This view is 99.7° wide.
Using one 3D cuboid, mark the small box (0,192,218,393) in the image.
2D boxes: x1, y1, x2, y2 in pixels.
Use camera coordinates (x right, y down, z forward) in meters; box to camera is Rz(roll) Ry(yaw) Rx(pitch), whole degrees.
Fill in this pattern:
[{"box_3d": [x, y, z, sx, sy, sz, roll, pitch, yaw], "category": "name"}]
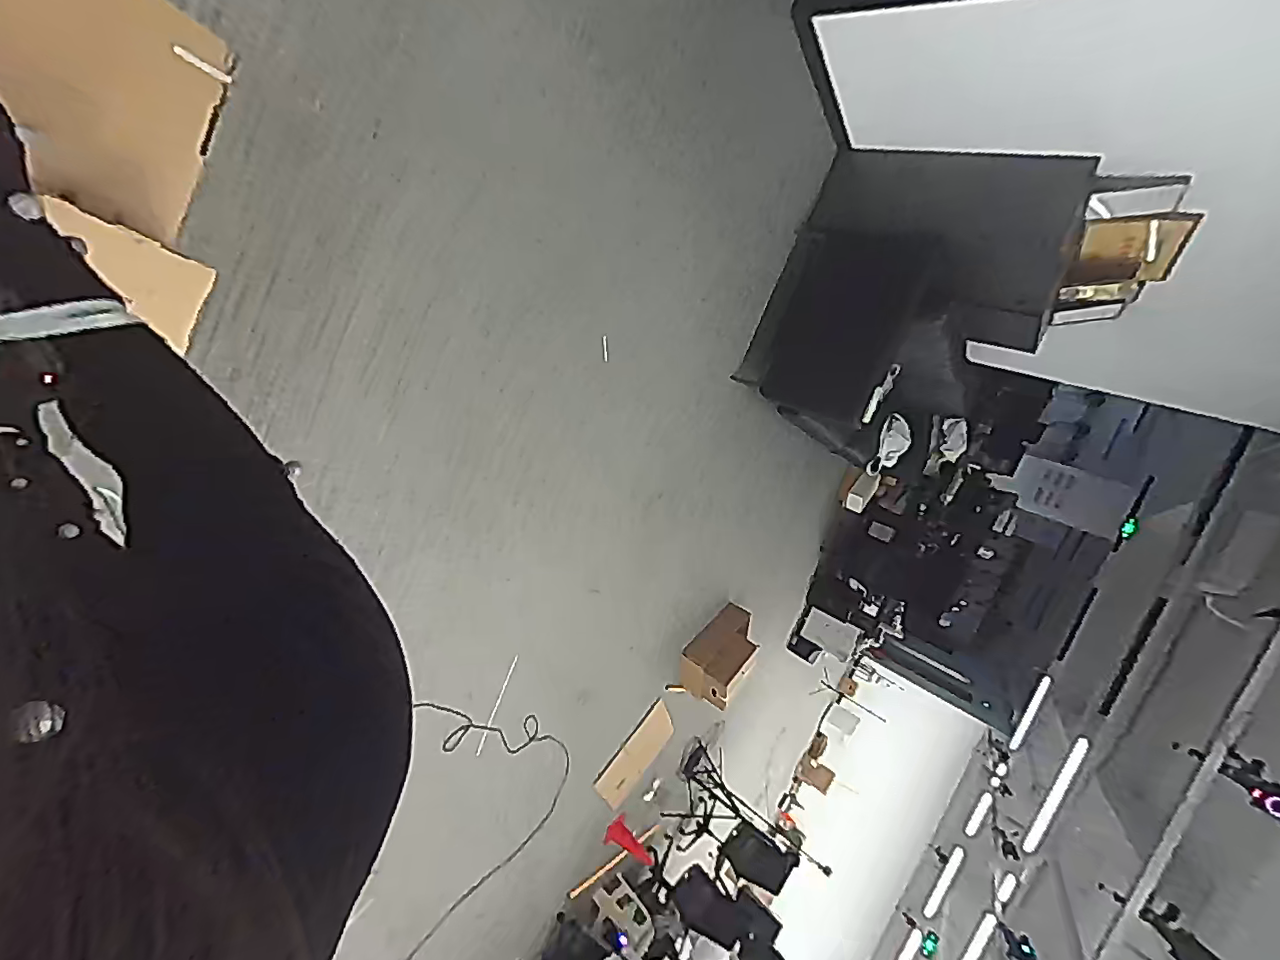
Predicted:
[{"box_3d": [-0.686, -0.235, 0.681, 0.168, 0.176, 0.179, 22, 92, -57], "category": "small box"}]
